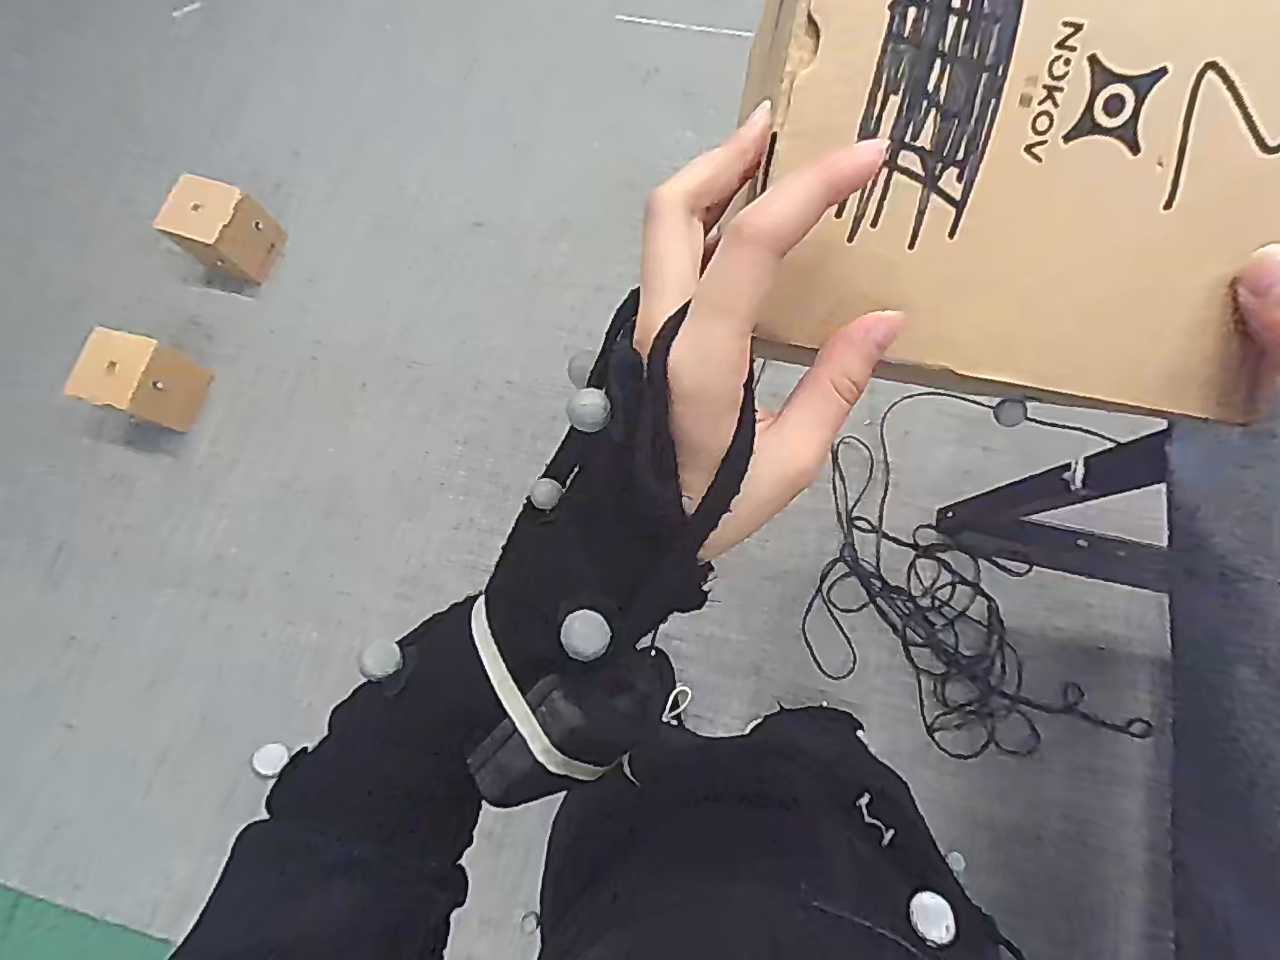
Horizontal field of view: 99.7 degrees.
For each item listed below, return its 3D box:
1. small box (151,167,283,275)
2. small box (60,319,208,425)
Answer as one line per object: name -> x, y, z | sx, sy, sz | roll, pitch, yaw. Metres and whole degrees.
small box -> -1.071, -0.655, 1.387 | 0.179, 0.176, 0.168 | 17, 77, 6
small box -> -1.198, -0.253, 1.299 | 0.168, 0.176, 0.179 | 13, 78, 4
